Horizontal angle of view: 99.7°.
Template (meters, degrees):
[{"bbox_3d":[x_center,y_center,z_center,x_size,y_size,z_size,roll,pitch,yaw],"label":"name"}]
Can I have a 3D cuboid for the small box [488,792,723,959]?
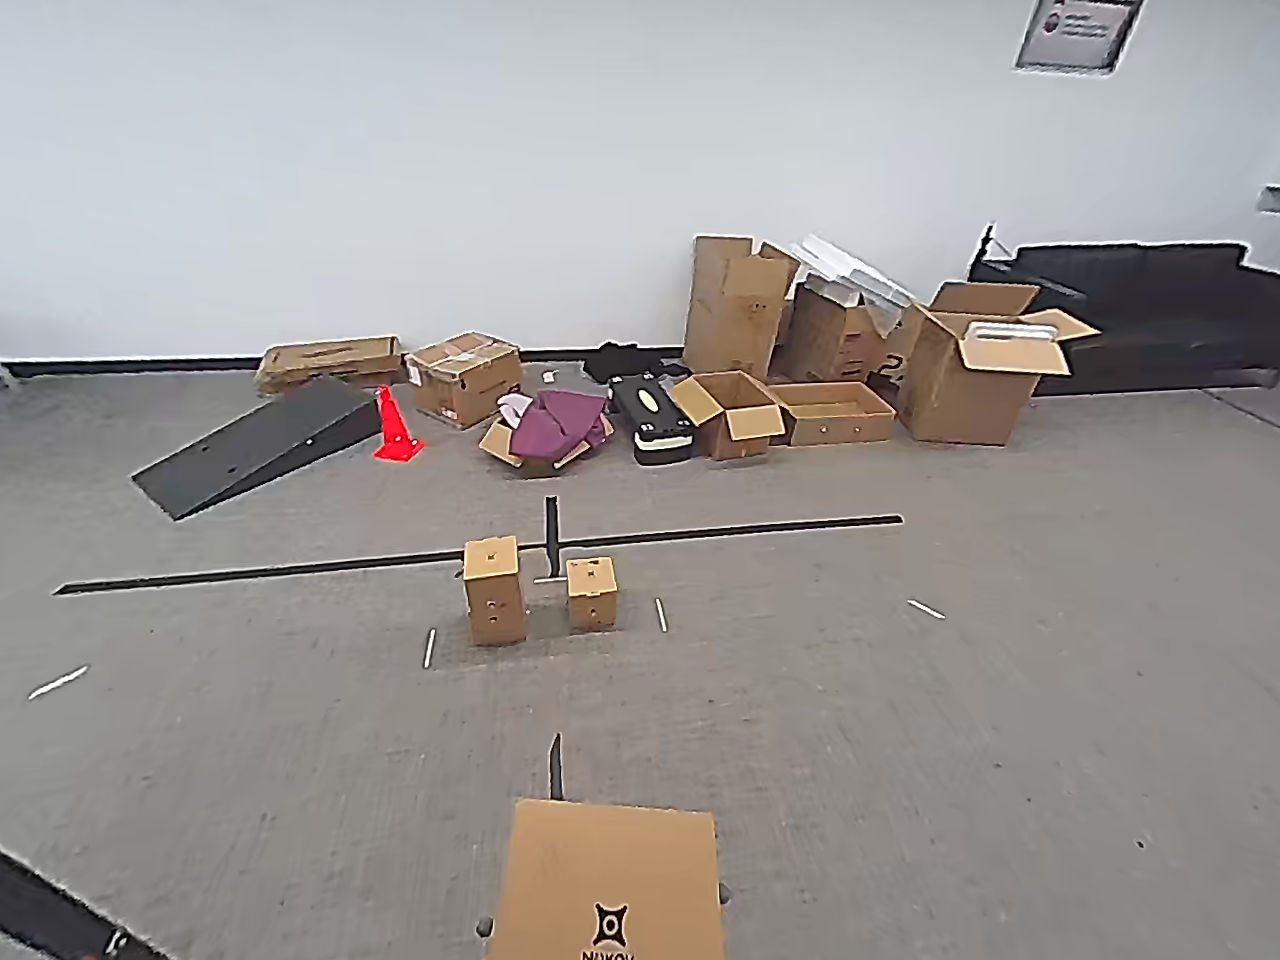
[{"bbox_3d":[-0.031,0.383,0.433,0.168,0.176,0.179,5,39,-2],"label":"small box"}]

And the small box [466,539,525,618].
[{"bbox_3d":[-0.469,0.320,1.764,0.168,0.176,0.179,-7,38,-11],"label":"small box"}]

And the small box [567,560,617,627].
[{"bbox_3d":[-0.172,0.412,1.940,0.168,0.176,0.179,-4,36,-9],"label":"small box"}]

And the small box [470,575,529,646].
[{"bbox_3d":[-0.480,0.451,1.859,0.179,0.176,0.168,-5,36,-11],"label":"small box"}]
